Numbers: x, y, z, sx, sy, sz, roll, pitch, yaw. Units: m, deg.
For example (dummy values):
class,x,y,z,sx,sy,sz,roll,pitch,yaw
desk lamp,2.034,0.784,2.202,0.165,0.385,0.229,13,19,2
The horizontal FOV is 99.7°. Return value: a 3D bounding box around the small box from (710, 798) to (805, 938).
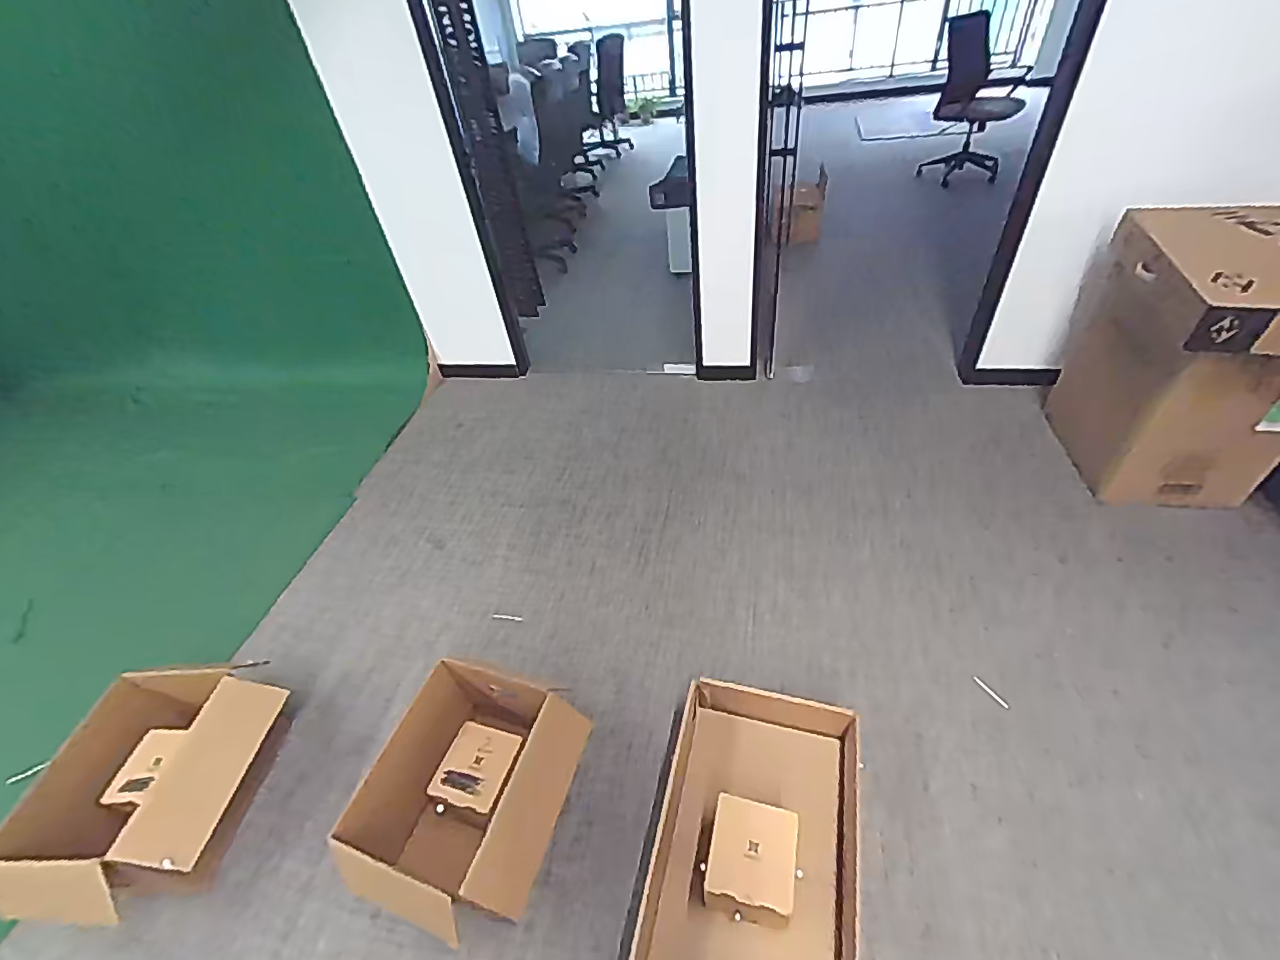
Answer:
class,x,y,z,sx,sy,sz,roll,pitch,yaw
small box,0.239,0.795,1.109,0.168,0.176,0.179,7,44,15
